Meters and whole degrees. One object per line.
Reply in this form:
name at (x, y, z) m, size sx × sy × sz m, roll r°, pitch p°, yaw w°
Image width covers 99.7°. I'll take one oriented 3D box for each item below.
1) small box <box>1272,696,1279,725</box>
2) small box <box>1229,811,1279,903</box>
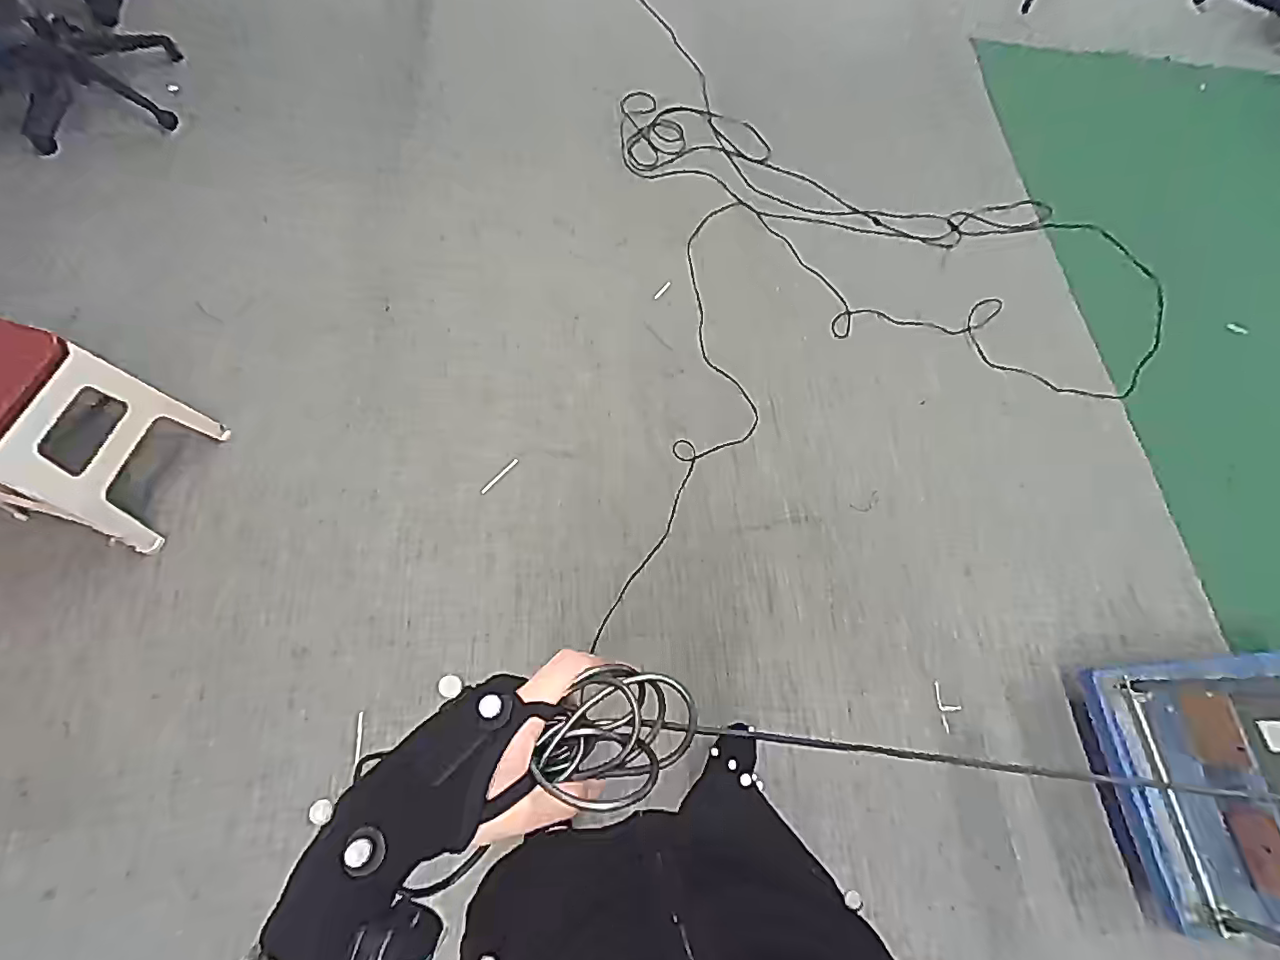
small box at (1.736, 0.612, 1.327) m, size 0.179 × 0.176 × 0.168 m, roll -5°, pitch 70°, yaw -8°
small box at (1.503, 0.851, 1.205) m, size 0.179 × 0.176 × 0.168 m, roll -1°, pitch 68°, yaw -6°
